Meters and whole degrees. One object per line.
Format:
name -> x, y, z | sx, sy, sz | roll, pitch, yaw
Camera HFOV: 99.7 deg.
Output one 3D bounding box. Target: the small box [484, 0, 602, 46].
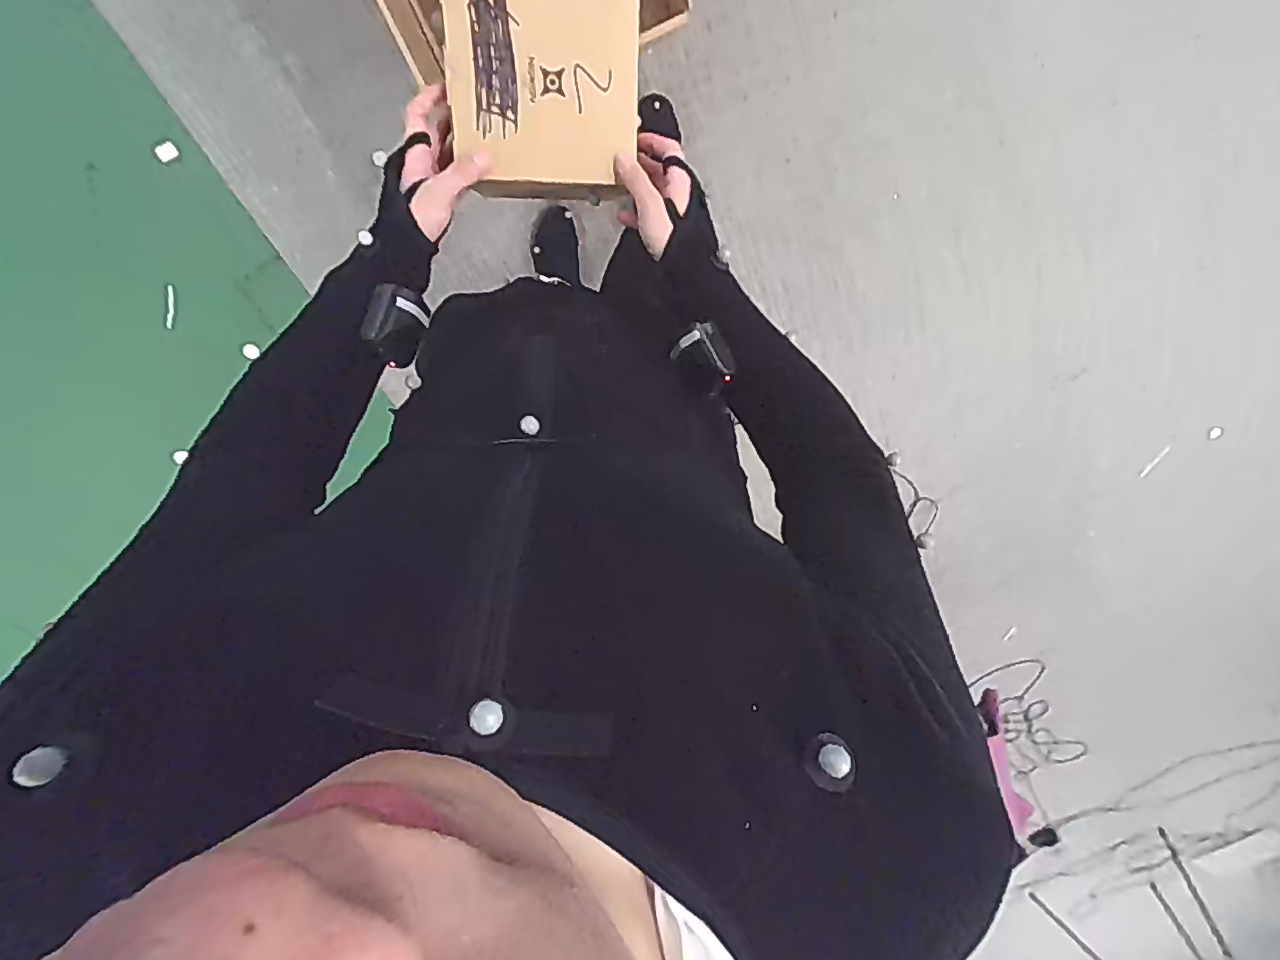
small box -> -0.145, -0.725, 0.726 | 0.179, 0.176, 0.168 | -21, 120, 7
